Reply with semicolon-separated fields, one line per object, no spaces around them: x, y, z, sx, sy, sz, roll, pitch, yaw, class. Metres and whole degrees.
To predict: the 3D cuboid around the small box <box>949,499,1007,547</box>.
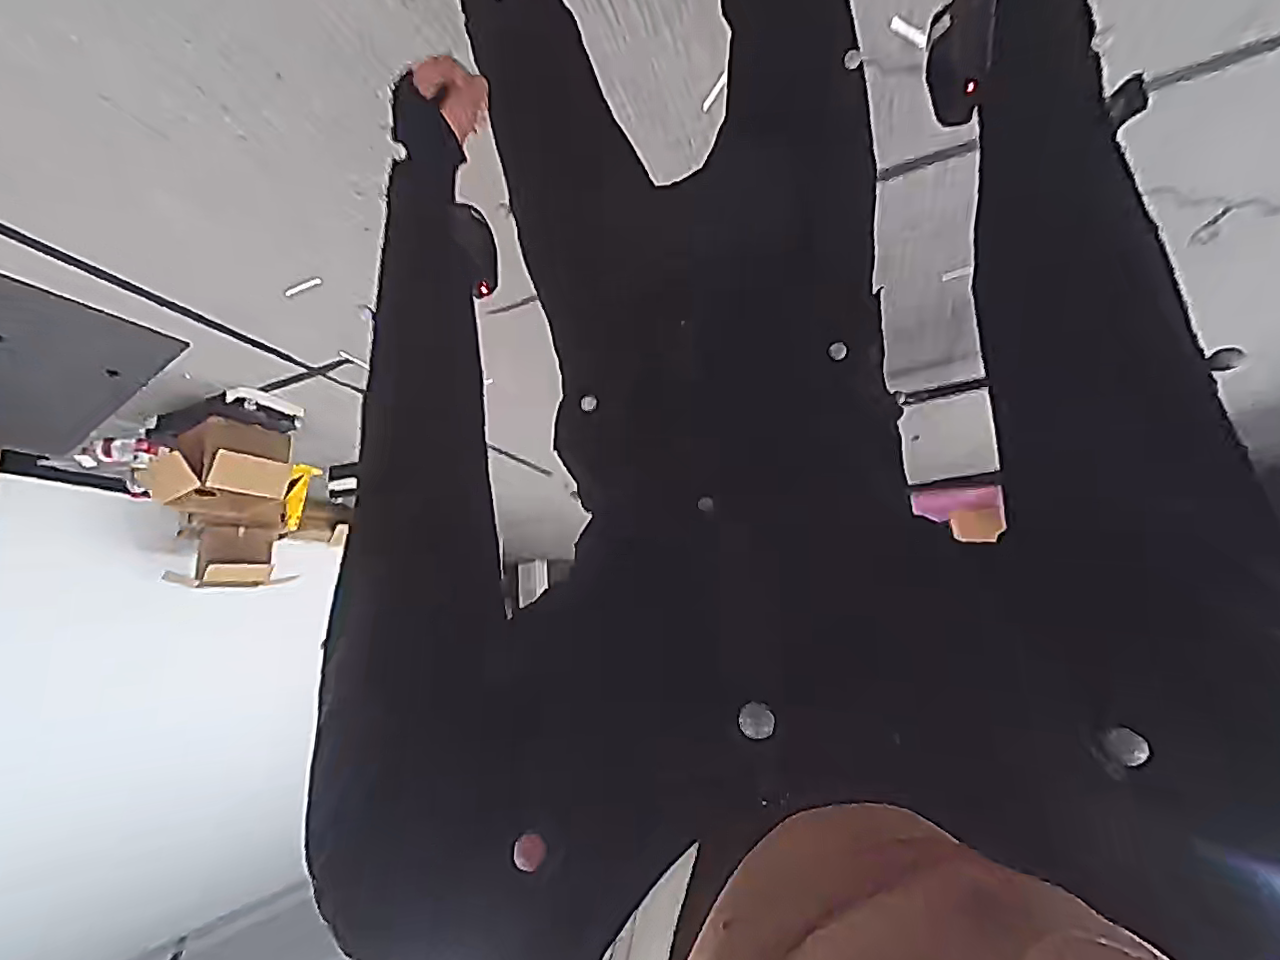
1.452;0.185;2.332;0.168;0.176;0.179;-11;163;20;small box

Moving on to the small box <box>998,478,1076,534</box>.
1.493;0.097;2.043;0.179;0.176;0.168;-12;162;19;small box
